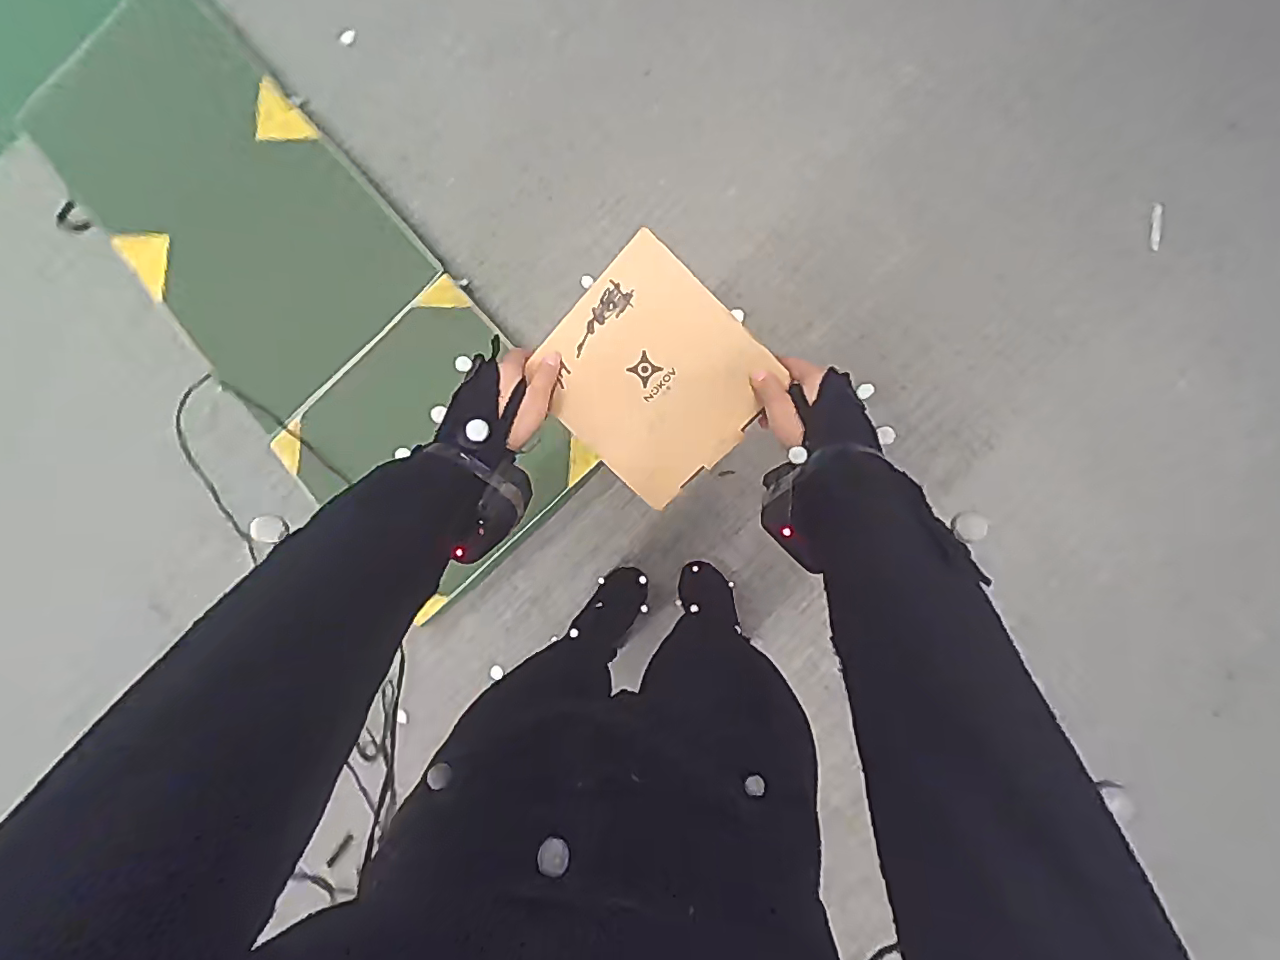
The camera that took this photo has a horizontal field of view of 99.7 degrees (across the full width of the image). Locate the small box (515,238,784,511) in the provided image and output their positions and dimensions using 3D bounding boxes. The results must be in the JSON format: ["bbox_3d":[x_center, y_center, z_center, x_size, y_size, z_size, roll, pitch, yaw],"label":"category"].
[{"bbox_3d":[0.014,-0.103,0.538,0.179,0.176,0.168,43,103,-6],"label":"small box"}]
